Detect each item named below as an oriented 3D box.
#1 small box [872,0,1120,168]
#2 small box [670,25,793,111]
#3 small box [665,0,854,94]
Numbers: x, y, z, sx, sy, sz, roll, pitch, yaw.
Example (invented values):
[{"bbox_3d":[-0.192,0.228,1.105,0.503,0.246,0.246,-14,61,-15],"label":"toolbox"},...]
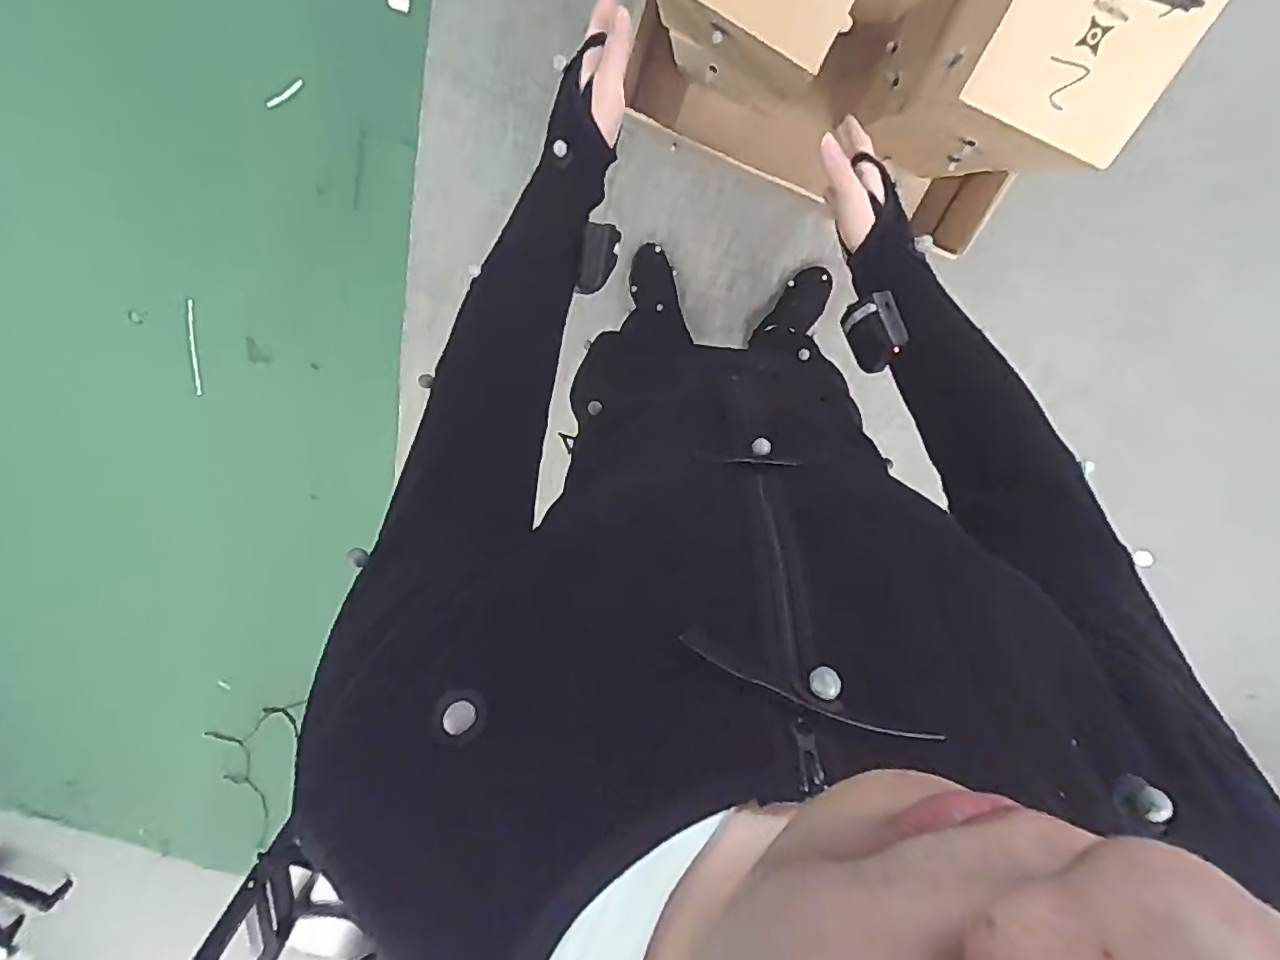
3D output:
[{"bbox_3d":[0.418,-0.515,0.679,0.168,0.176,0.179,21,118,-6],"label":"small box"},{"bbox_3d":[0.151,-0.593,0.670,0.168,0.176,0.179,24,117,-6],"label":"small box"},{"bbox_3d":[0.131,-0.514,0.527,0.179,0.176,0.168,27,117,-8],"label":"small box"}]
